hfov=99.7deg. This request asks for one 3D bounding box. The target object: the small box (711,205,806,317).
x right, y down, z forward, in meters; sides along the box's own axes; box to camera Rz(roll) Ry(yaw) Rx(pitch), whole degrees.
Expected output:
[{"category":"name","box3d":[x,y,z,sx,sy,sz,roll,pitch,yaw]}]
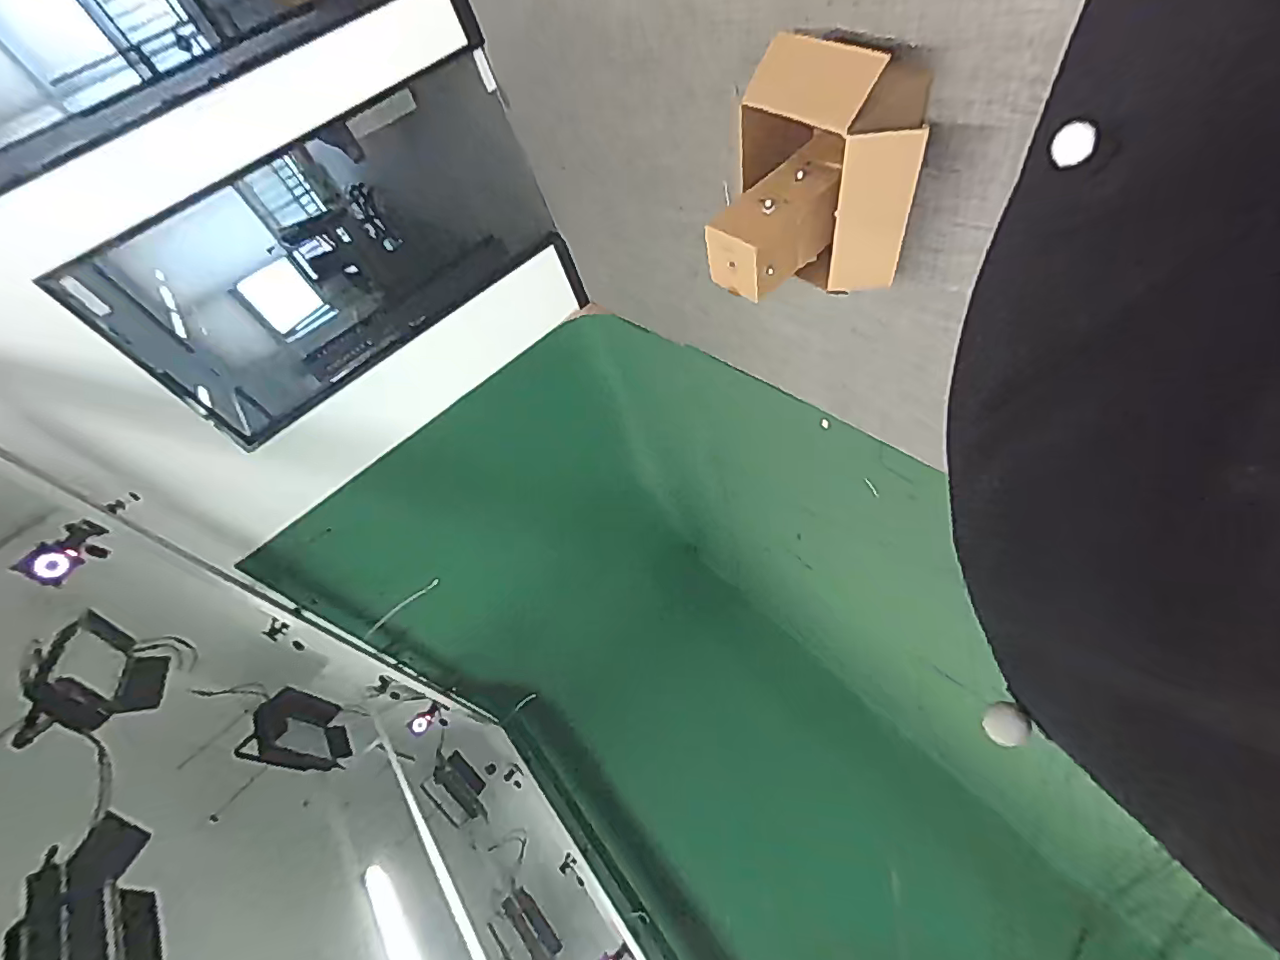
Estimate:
[{"category":"small box","box3d":[0.307,-0.561,1.383,0.168,0.176,0.179,38,164,31]}]
